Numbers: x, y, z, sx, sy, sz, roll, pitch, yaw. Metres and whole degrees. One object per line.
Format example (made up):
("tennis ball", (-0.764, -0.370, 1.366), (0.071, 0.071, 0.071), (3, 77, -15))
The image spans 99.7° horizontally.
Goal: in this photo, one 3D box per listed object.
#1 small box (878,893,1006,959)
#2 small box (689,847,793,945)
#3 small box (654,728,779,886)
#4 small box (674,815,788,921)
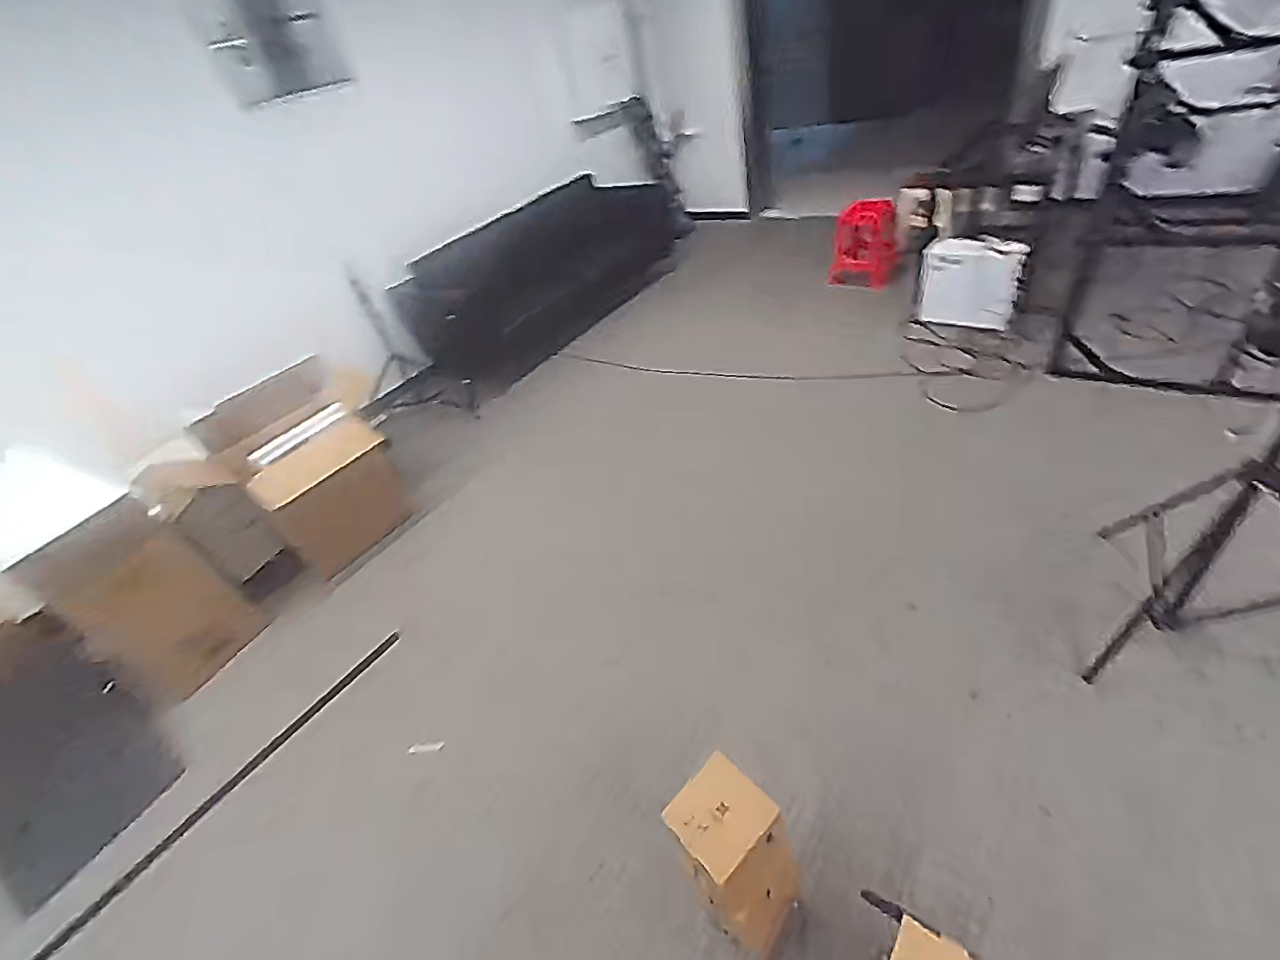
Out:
("small box", (0.498, 0.869, 0.923), (0.168, 0.176, 0.179), (18, 48, 34))
("small box", (0.236, 0.899, 1.234), (0.168, 0.176, 0.179), (20, 50, 39))
("small box", (0.155, 0.637, 1.057), (0.179, 0.176, 0.168), (-36, 42, -24))
("small box", (0.197, 0.772, 1.144), (0.168, 0.176, 0.179), (23, 53, 39))
